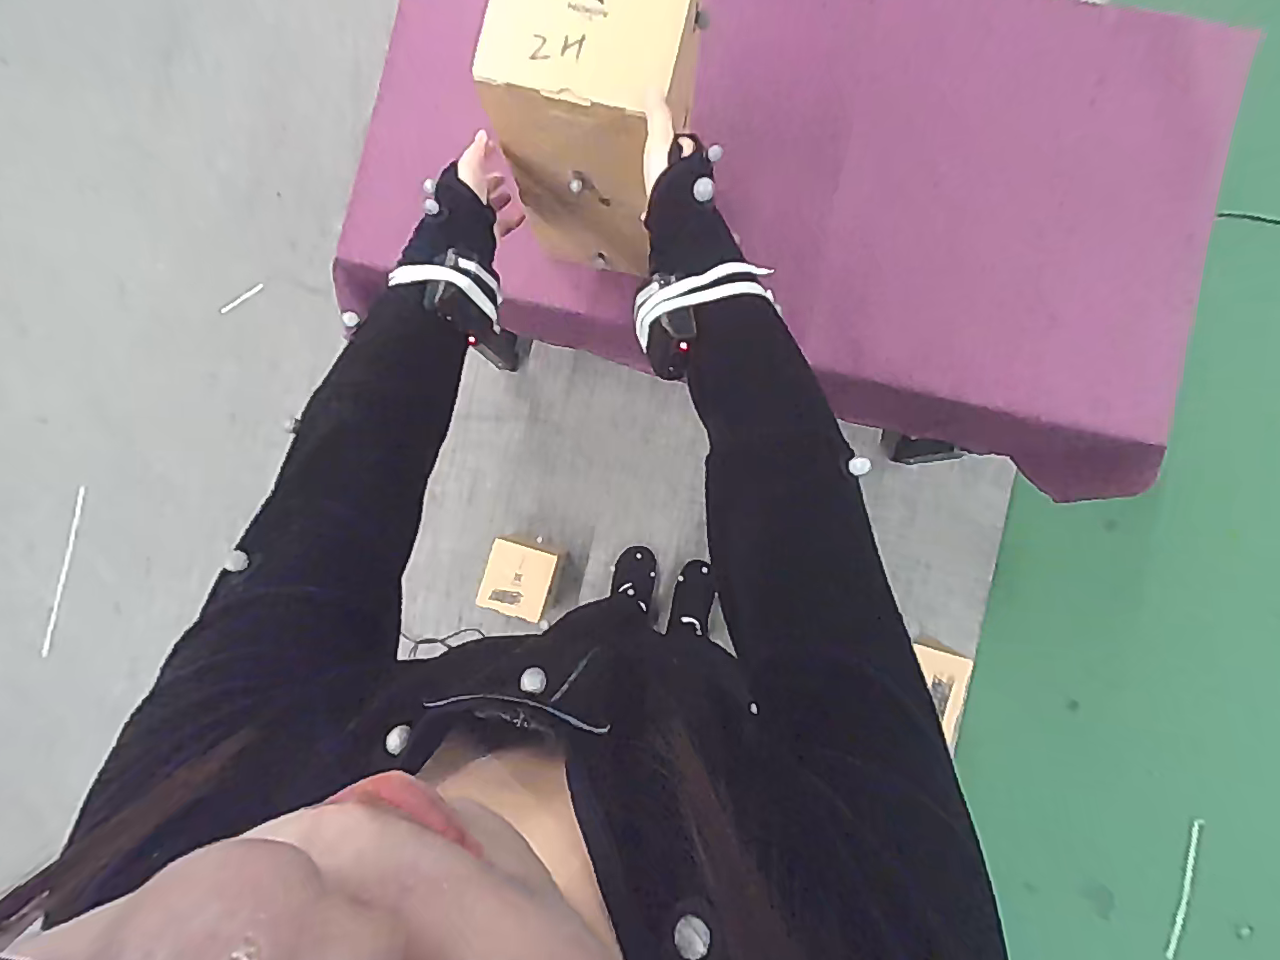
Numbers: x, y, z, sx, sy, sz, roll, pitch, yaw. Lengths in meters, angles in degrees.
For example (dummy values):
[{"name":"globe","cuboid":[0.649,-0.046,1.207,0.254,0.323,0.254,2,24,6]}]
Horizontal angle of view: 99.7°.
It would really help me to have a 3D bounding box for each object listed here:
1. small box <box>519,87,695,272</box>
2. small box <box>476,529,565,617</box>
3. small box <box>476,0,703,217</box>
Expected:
[{"name":"small box","cuboid":[-0.039,-0.390,0.698,0.179,0.176,0.168,12,88,0]},{"name":"small box","cuboid":[-0.305,0.237,1.419,0.168,0.176,0.179,17,88,1]},{"name":"small box","cuboid":[-0.038,-0.399,0.532,0.168,0.176,0.179,14,88,2]}]
